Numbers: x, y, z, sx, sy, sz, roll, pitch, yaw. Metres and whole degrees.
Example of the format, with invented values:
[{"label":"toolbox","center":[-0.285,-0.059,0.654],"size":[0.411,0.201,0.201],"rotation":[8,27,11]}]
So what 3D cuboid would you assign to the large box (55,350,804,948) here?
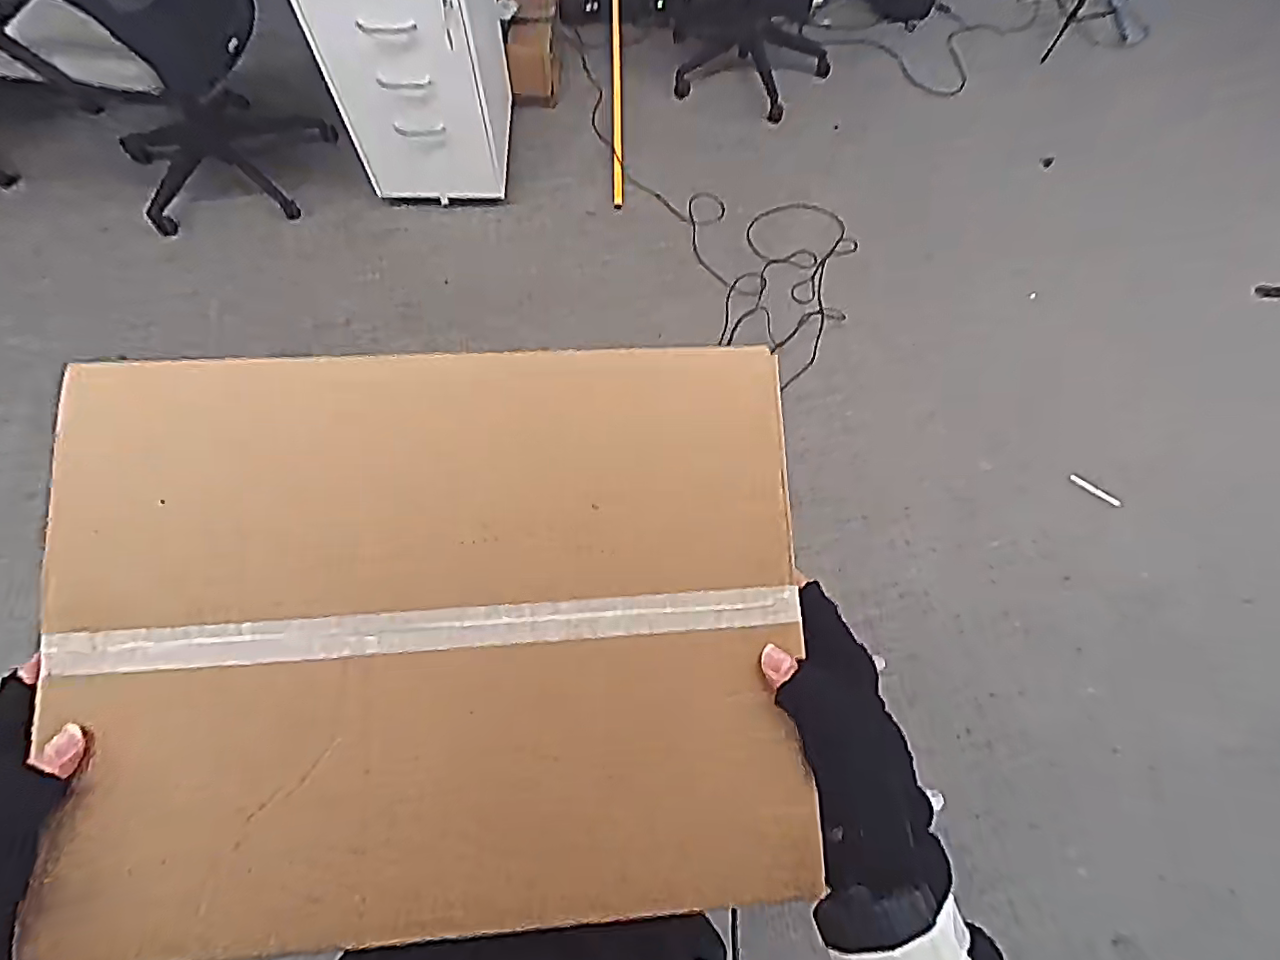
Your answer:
[{"label":"large box","center":[-0.121,0.097,0.458],"size":[0.408,0.320,0.320],"rotation":[-2,82,-5]}]
